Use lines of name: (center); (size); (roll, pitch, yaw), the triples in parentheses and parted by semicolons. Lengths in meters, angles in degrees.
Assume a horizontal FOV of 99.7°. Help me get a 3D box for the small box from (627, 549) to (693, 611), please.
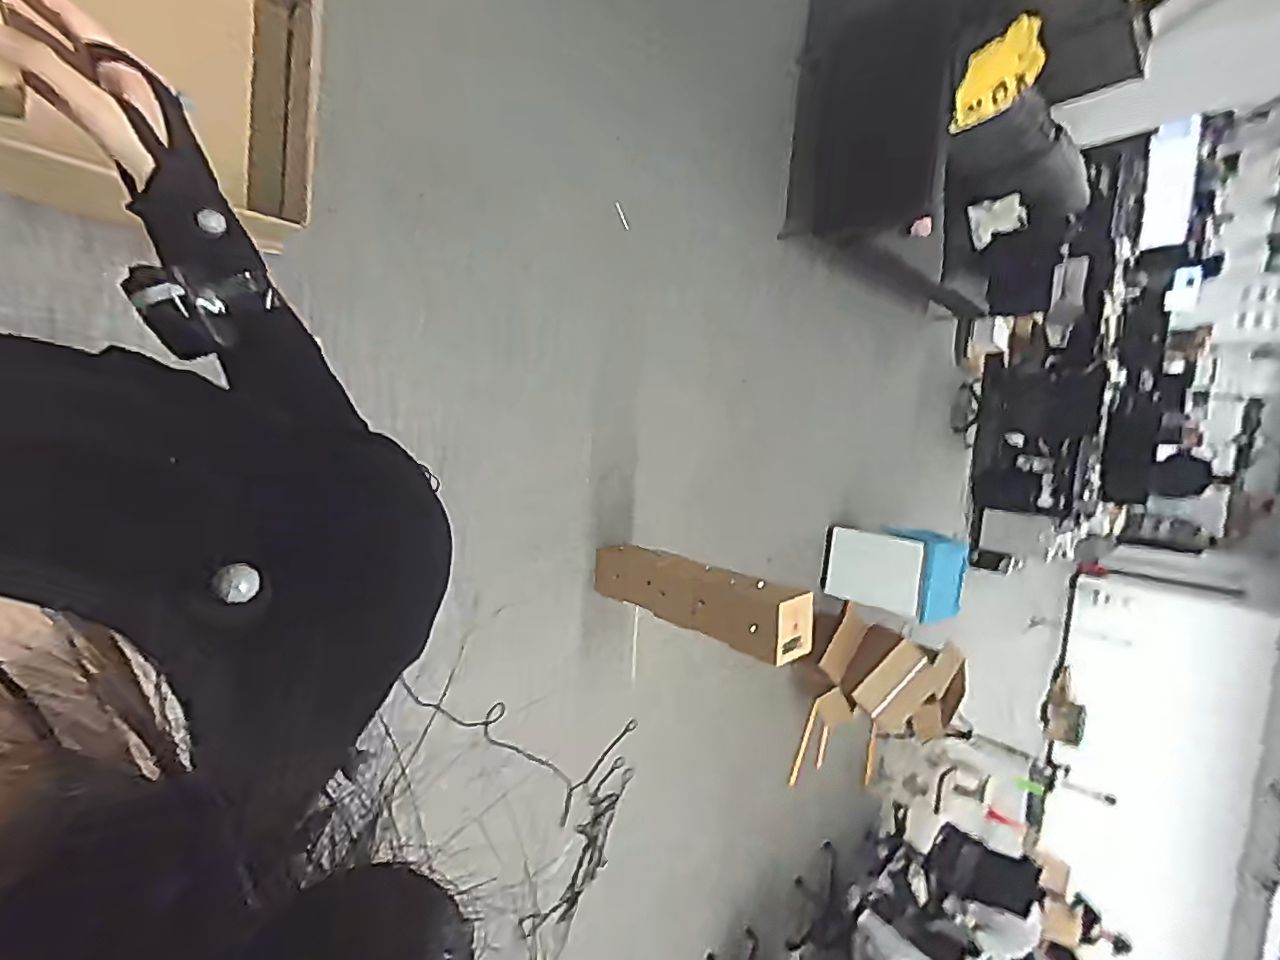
small box: (0.069, 0.344, 1.902); (0.168, 0.176, 0.179); (-1, 96, -42)

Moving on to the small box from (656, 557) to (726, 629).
small box: (0.167, 0.364, 1.773); (0.168, 0.176, 0.179); (-4, 99, -42)

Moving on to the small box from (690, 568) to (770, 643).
small box: (0.275, 0.375, 1.651); (0.179, 0.176, 0.168); (-4, 98, -41)

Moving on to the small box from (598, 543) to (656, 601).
small box: (-0.043, 0.338, 2.022); (0.168, 0.176, 0.179); (-2, 97, -43)
